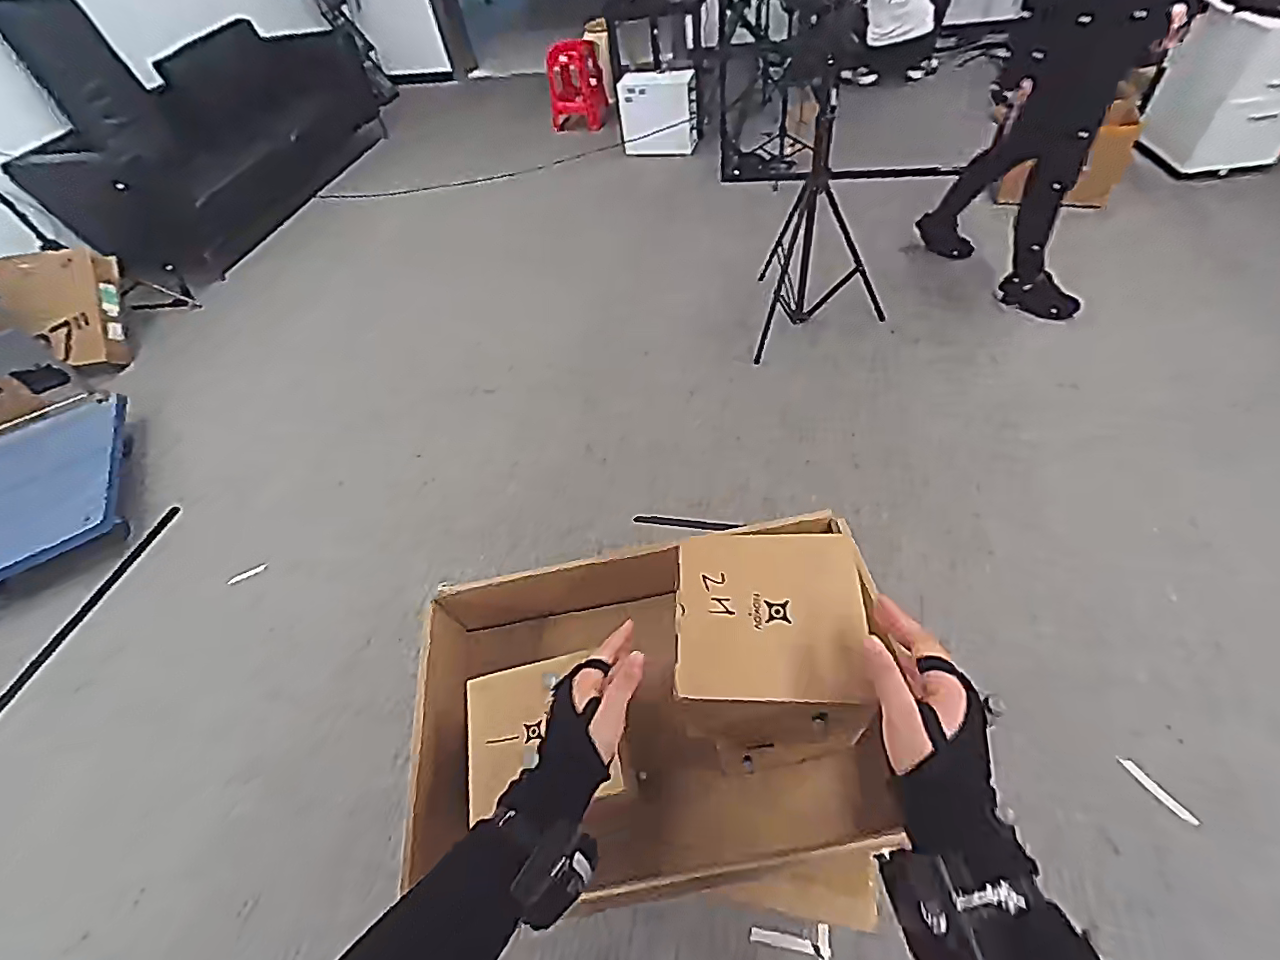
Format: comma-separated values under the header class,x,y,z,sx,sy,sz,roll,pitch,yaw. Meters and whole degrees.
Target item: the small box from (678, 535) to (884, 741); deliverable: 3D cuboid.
class,x,y,z,sx,sy,sz,roll,pitch,yaw
small box,0.138,0.171,0.575,0.179,0.176,0.168,-2,53,10
